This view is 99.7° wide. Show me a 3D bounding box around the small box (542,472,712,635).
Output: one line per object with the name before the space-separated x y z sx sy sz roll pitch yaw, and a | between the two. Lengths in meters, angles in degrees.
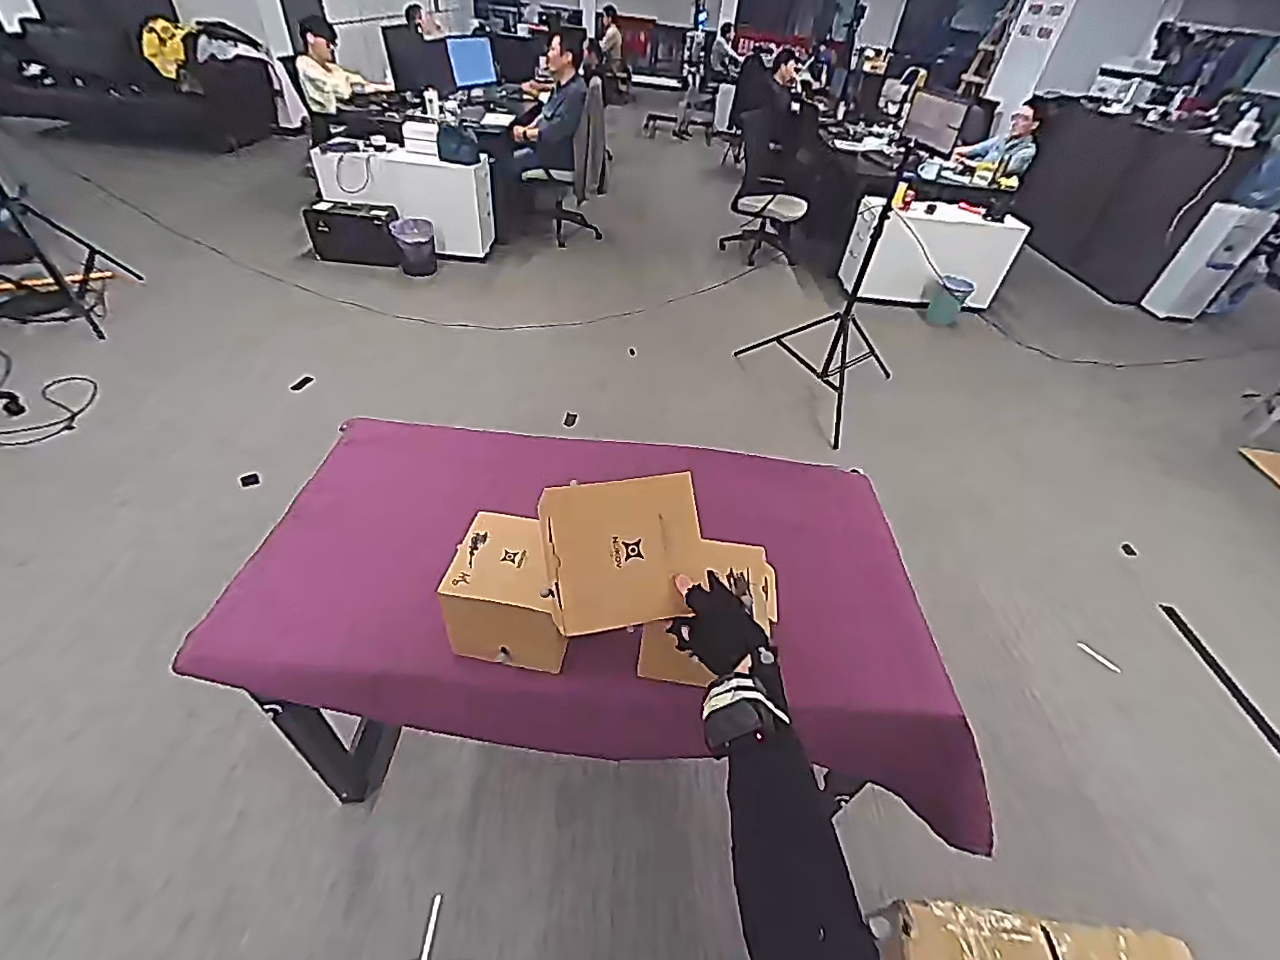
small box | -0.028 0.092 0.695 0.179 0.176 0.168 -8 85 -15

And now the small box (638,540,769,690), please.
small box | 0.098 0.214 0.866 0.179 0.176 0.168 8 41 3

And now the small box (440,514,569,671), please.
small box | -0.192 0.182 0.864 0.179 0.176 0.168 10 41 2
